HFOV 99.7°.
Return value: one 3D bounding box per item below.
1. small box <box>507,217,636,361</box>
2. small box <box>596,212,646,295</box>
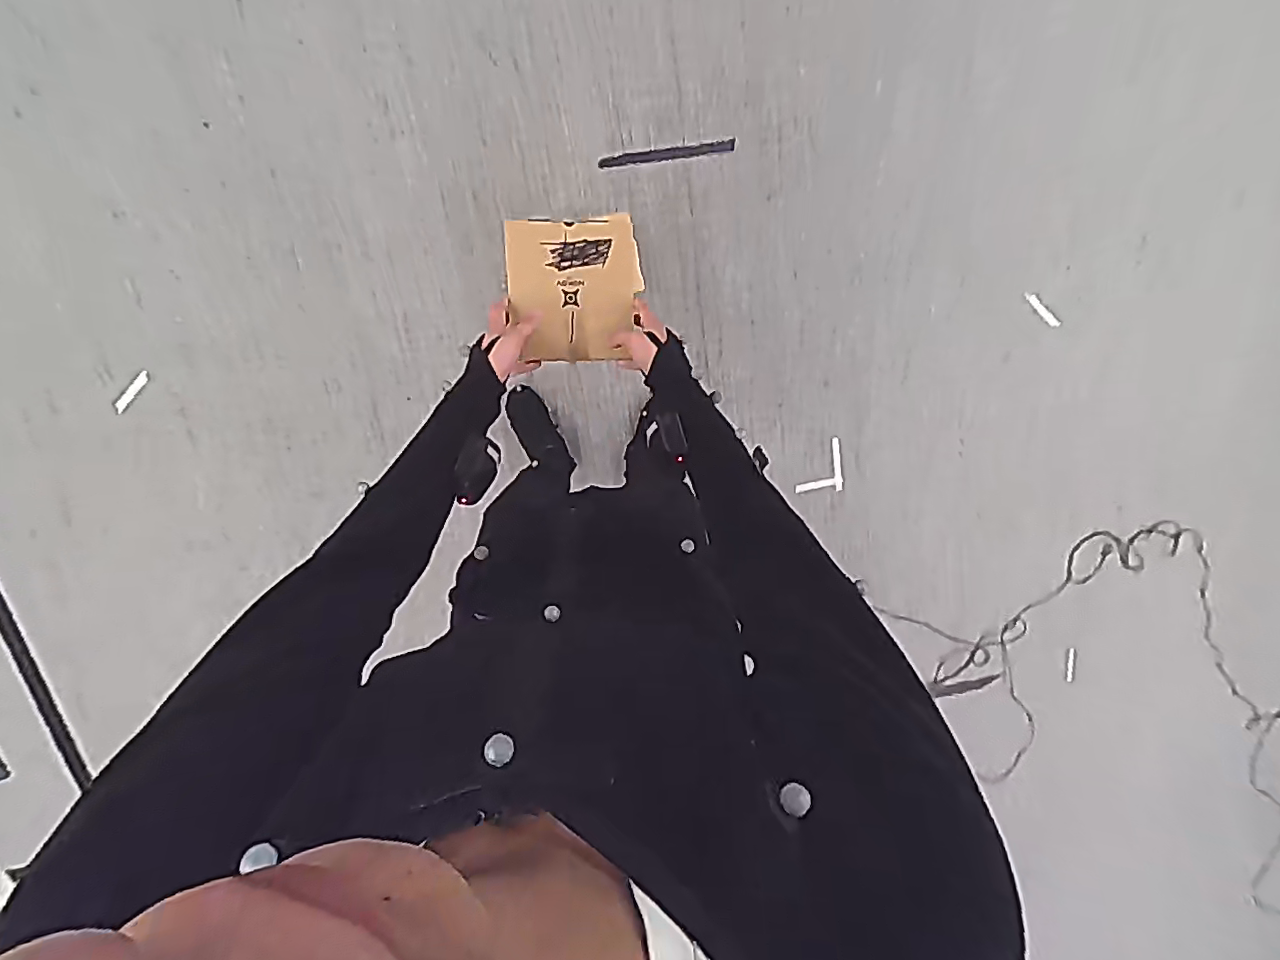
[{"bbox_3d":[-0.095,-0.262,0.778,0.168,0.176,0.179,-2,103,-5],"label":"small box"},{"bbox_3d":[-0.093,-0.498,1.249,0.179,0.176,0.168,-14,105,-3],"label":"small box"}]
